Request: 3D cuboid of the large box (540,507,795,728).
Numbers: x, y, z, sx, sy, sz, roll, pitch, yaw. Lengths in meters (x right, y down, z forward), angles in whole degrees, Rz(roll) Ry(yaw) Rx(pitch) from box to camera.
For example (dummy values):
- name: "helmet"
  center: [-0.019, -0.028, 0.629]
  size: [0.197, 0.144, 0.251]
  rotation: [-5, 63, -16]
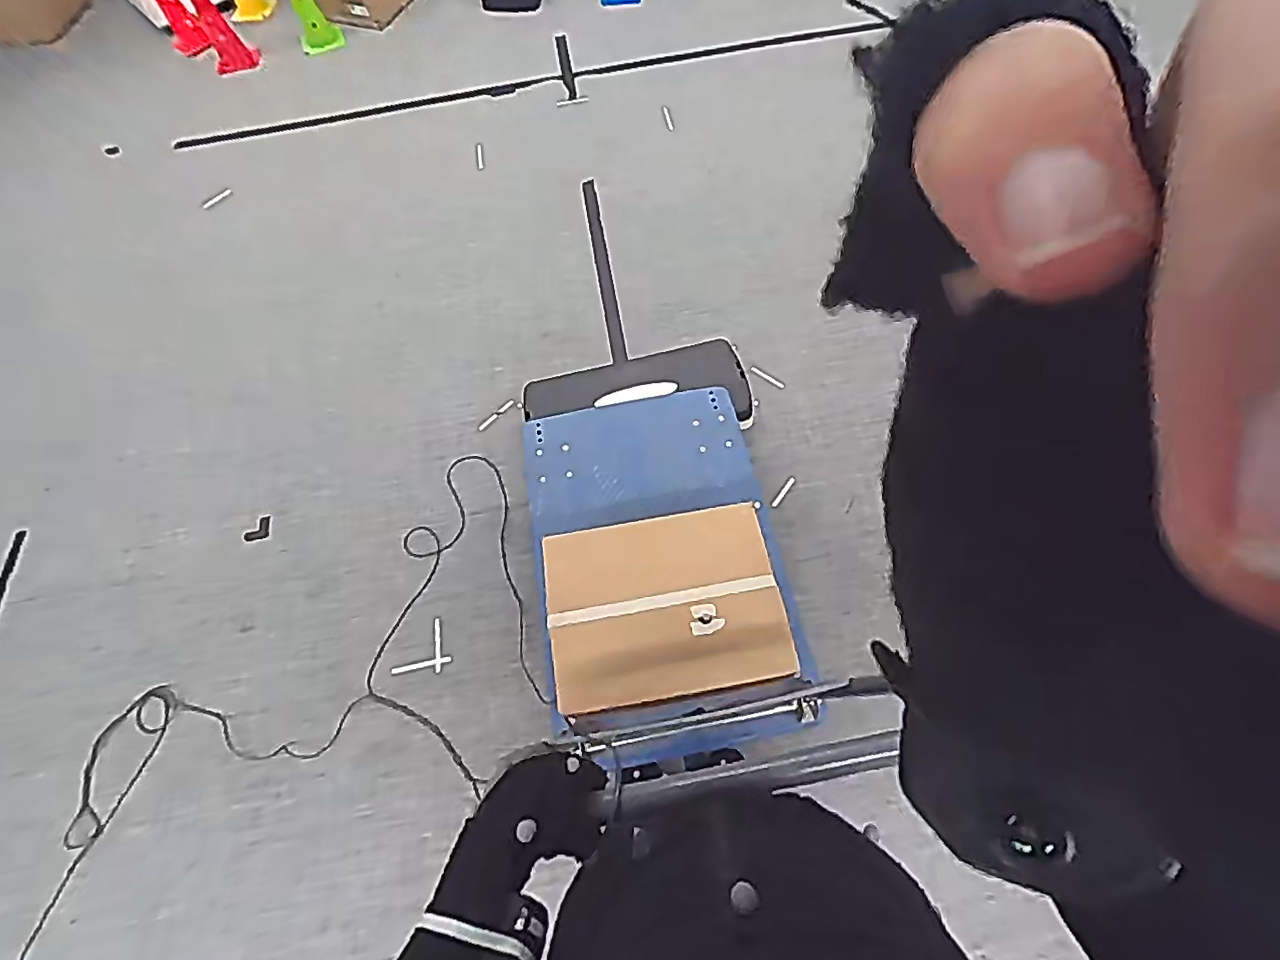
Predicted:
- name: "large box"
  center: [0.040, 0.286, 1.075]
  size: [0.408, 0.320, 0.320]
  rotation: [-10, 65, -3]
